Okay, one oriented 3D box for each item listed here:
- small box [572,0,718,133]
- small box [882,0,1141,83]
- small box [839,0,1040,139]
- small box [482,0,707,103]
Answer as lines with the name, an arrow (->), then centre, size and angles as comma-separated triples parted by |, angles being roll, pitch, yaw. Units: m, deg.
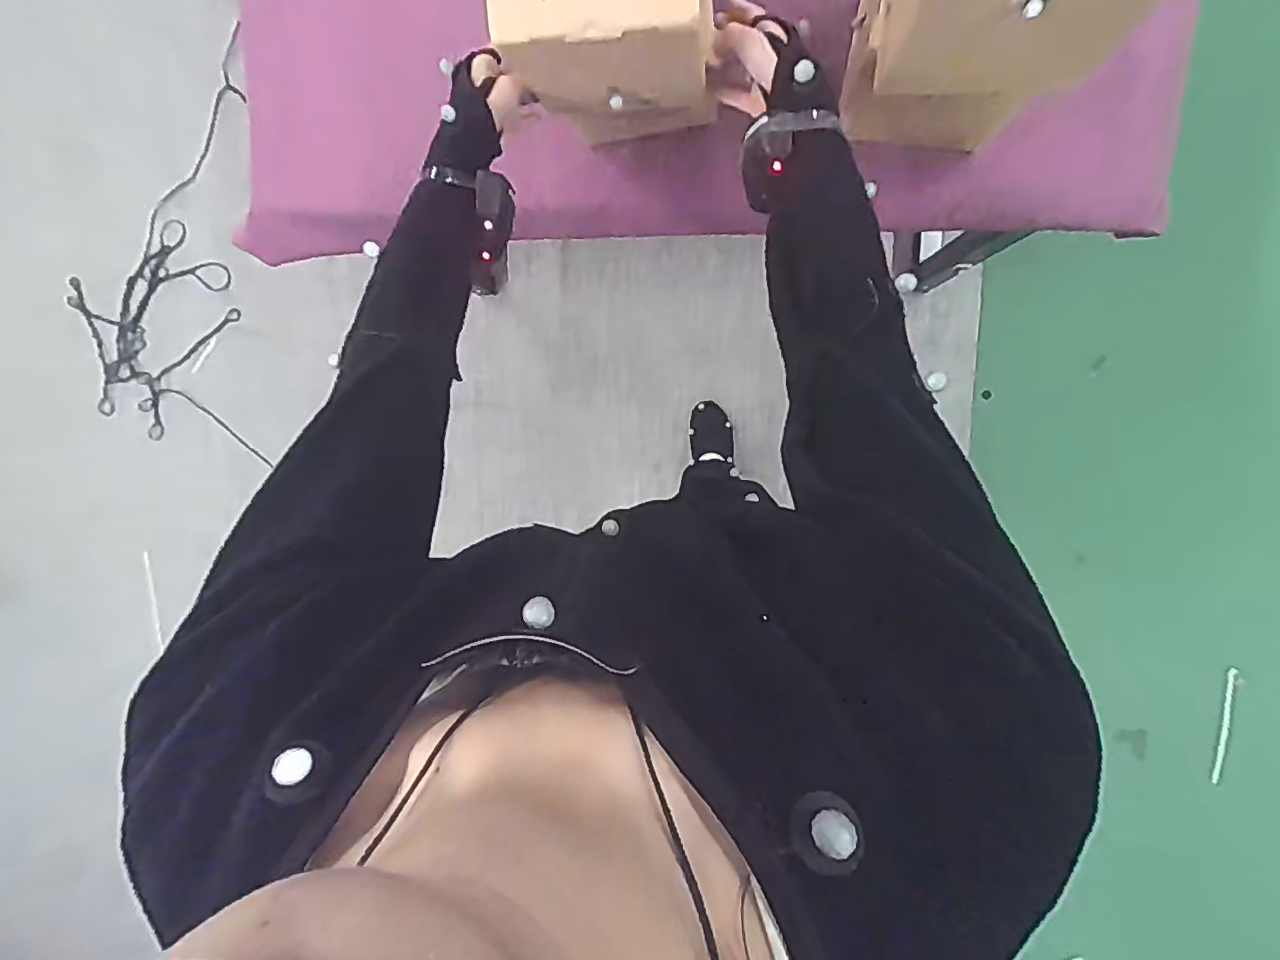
small box -> -0.006, -0.517, 0.607 | 0.179, 0.176, 0.168 | -5, 106, 9
small box -> 0.303, -0.440, 0.416 | 0.179, 0.176, 0.168 | 6, 98, 9
small box -> 0.330, -0.490, 0.571 | 0.179, 0.176, 0.168 | 11, 99, 8
small box -> -0.028, -0.453, 0.456 | 0.168, 0.176, 0.179 | 2, 107, 8
